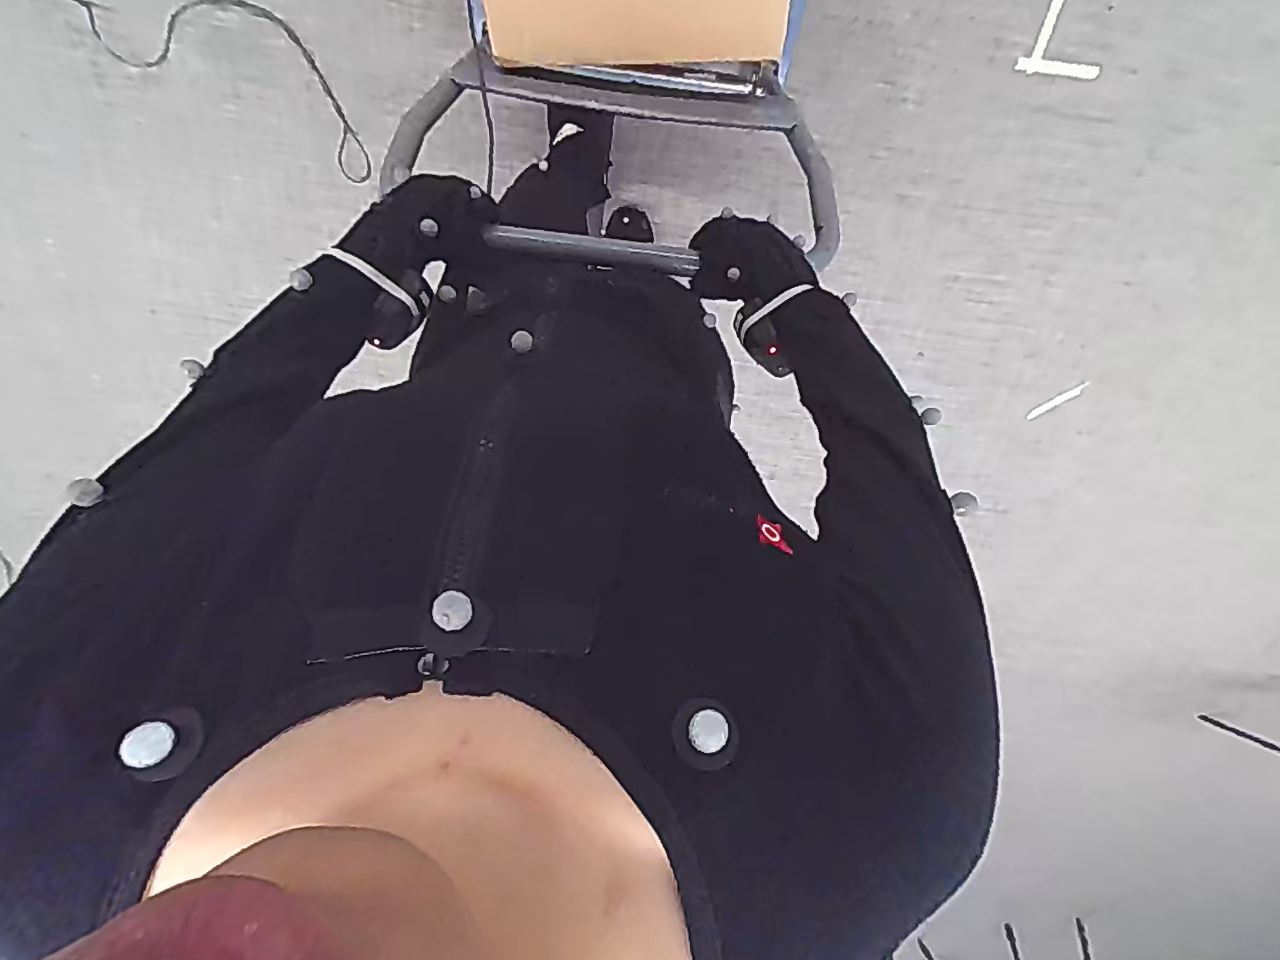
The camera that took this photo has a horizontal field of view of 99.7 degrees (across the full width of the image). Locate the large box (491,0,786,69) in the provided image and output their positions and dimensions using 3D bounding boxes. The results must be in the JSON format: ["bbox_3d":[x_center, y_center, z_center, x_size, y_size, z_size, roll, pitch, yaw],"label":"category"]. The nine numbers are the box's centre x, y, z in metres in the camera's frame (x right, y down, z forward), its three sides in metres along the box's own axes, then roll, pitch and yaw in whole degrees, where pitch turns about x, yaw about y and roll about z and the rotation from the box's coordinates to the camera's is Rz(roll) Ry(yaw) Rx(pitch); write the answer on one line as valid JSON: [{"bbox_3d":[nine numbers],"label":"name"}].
[{"bbox_3d":[-0.008,-0.810,0.767,0.408,0.320,0.320,-1,136,1],"label":"large box"}]
